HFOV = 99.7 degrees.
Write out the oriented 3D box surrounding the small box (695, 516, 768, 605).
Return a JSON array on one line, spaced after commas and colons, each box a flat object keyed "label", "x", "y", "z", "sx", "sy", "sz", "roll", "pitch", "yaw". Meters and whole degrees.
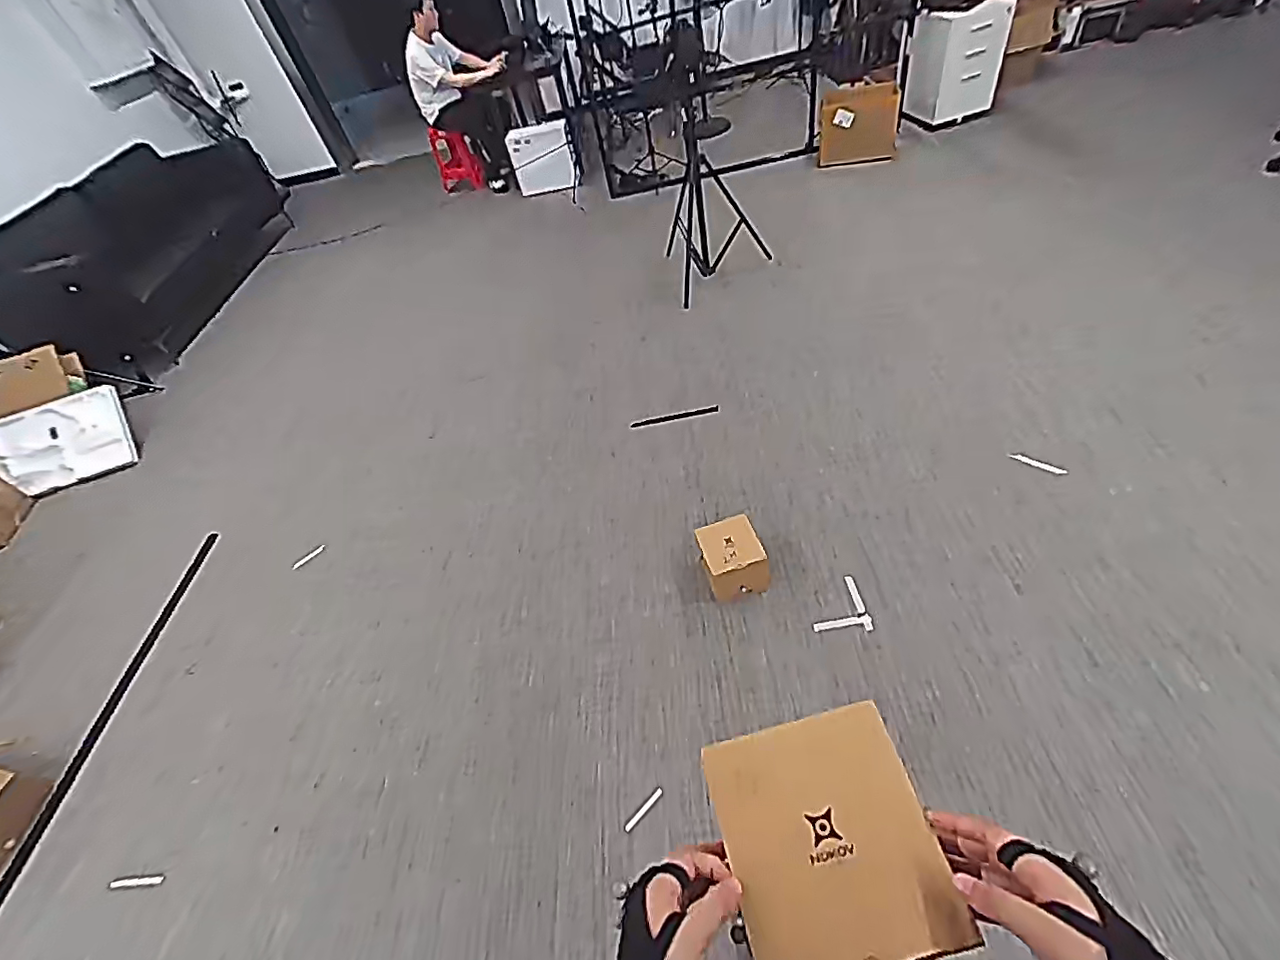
[{"label": "small box", "x": 0.275, "y": 0.243, "z": 1.626, "sx": 0.168, "sy": 0.176, "sz": 0.179, "roll": -19, "pitch": 47, "yaw": -2}]
